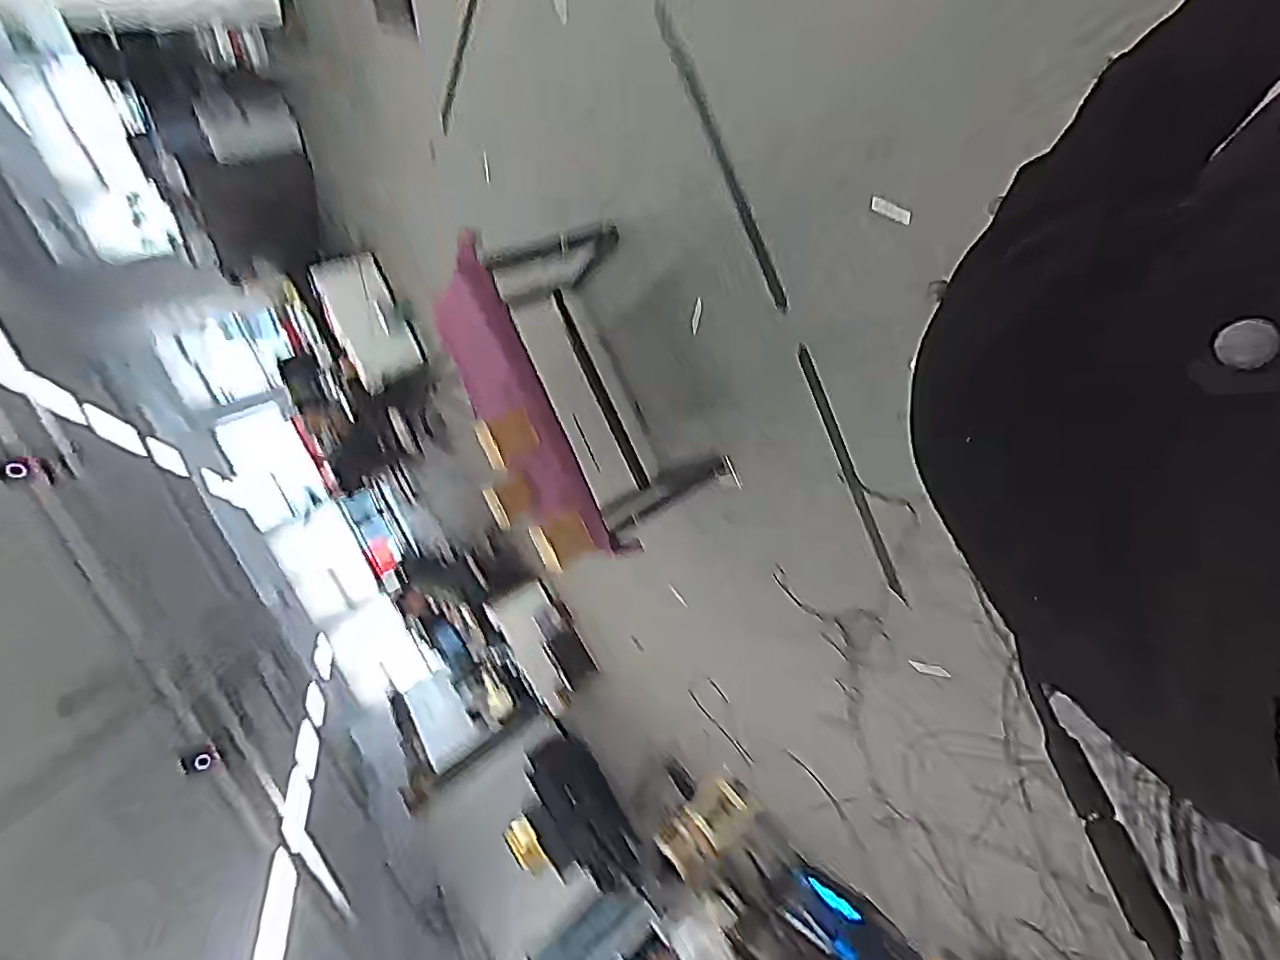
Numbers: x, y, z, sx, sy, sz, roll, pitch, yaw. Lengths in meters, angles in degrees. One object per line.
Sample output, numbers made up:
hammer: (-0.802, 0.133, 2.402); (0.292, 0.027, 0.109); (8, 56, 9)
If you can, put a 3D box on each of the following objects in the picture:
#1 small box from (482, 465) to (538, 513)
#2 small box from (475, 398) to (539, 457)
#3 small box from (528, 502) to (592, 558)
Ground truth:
small box: (-0.579, 0.039, 2.423); (0.179, 0.176, 0.168); (-6, 110, 59)
small box: (-0.516, -0.204, 2.108); (0.179, 0.176, 0.168); (-12, 105, 61)
small box: (-0.311, 0.194, 2.134); (0.179, 0.176, 0.168); (-8, 108, 60)
